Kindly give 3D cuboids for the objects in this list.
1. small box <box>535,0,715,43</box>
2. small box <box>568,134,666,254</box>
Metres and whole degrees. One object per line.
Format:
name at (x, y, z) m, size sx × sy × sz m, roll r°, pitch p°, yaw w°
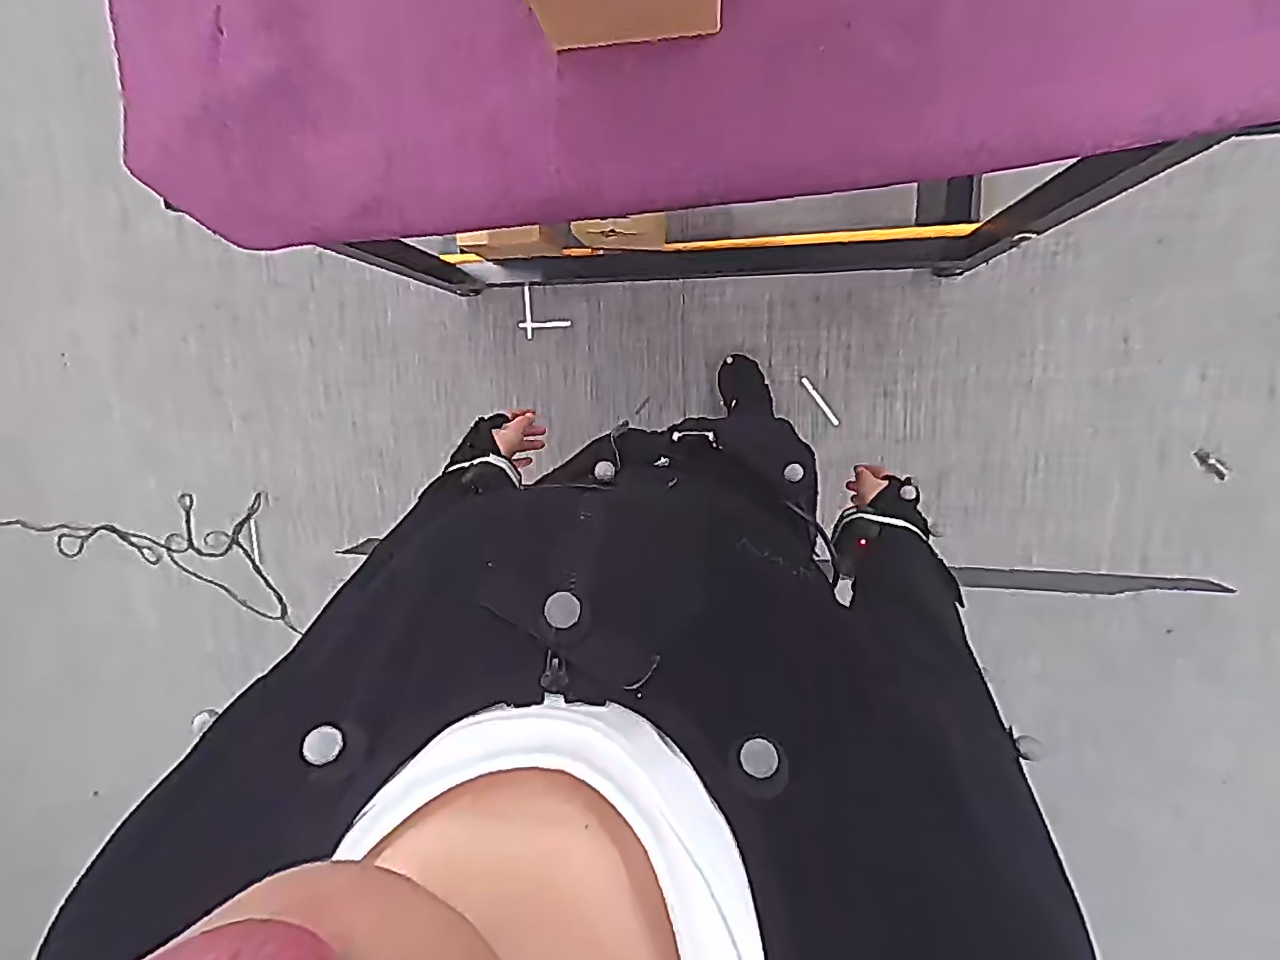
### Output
small box at (-0.016, -0.520, 0.463) m, size 0.179 × 0.176 × 0.168 m, roll 1°, pitch 98°, yaw 8°
small box at (-0.041, -0.567, 1.094) m, size 0.168 × 0.176 × 0.179 m, roll 6°, pitch 100°, yaw 7°
